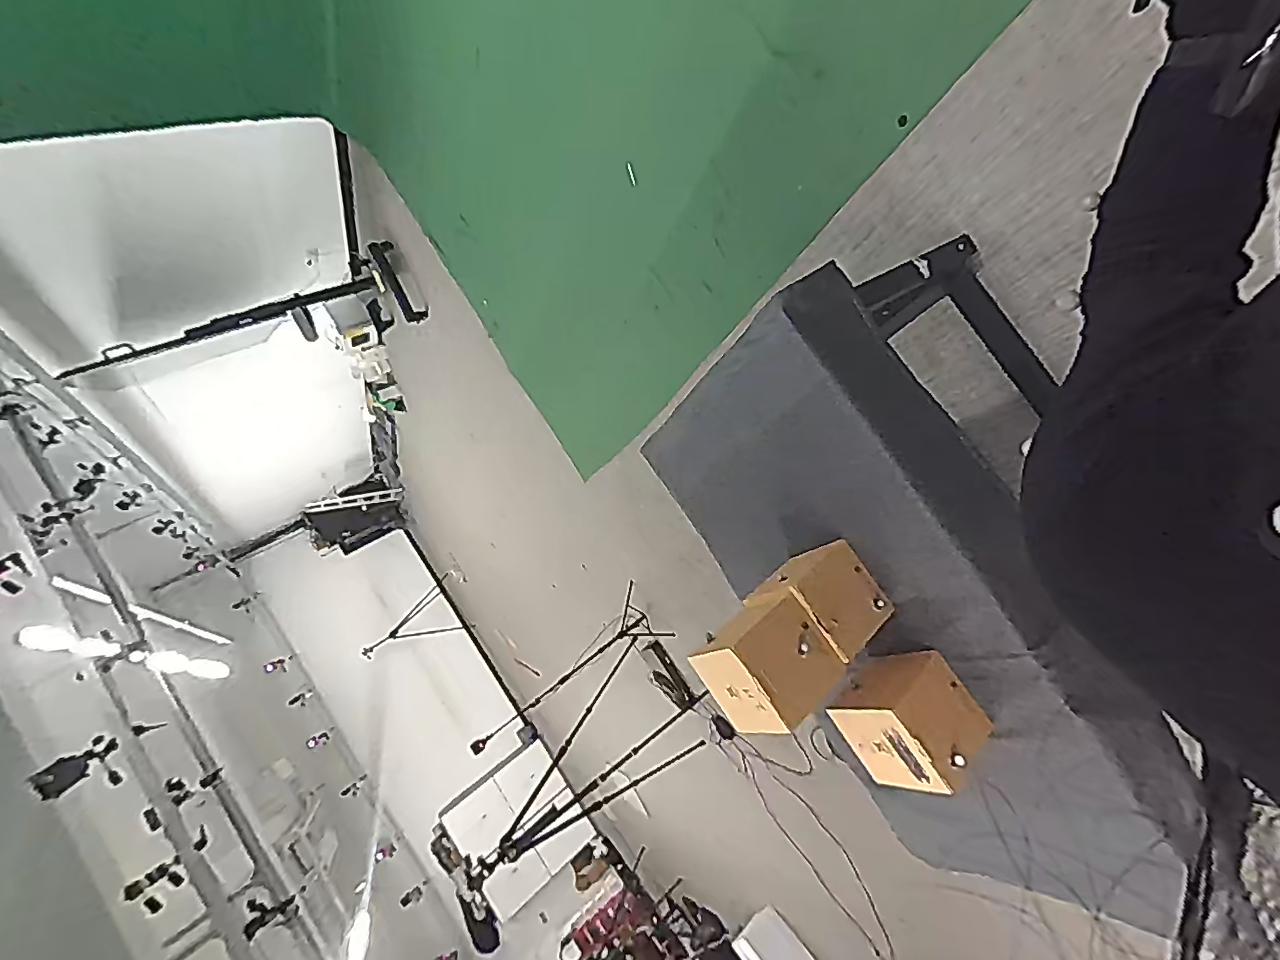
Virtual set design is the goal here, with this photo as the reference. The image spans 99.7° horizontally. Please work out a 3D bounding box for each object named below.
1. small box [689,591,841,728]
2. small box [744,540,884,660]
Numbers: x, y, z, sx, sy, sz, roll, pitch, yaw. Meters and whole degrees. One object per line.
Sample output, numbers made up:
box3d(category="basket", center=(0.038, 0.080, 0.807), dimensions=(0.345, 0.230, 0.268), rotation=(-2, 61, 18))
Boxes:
box3d(category="small box", center=(0.229, 0.329, 0.993), dimensions=(0.168, 0.176, 0.179), rotation=(54, 149, 7))
box3d(category="small box", center=(0.348, 0.240, 1.064), dimensions=(0.168, 0.176, 0.179), rotation=(56, 150, 6))
